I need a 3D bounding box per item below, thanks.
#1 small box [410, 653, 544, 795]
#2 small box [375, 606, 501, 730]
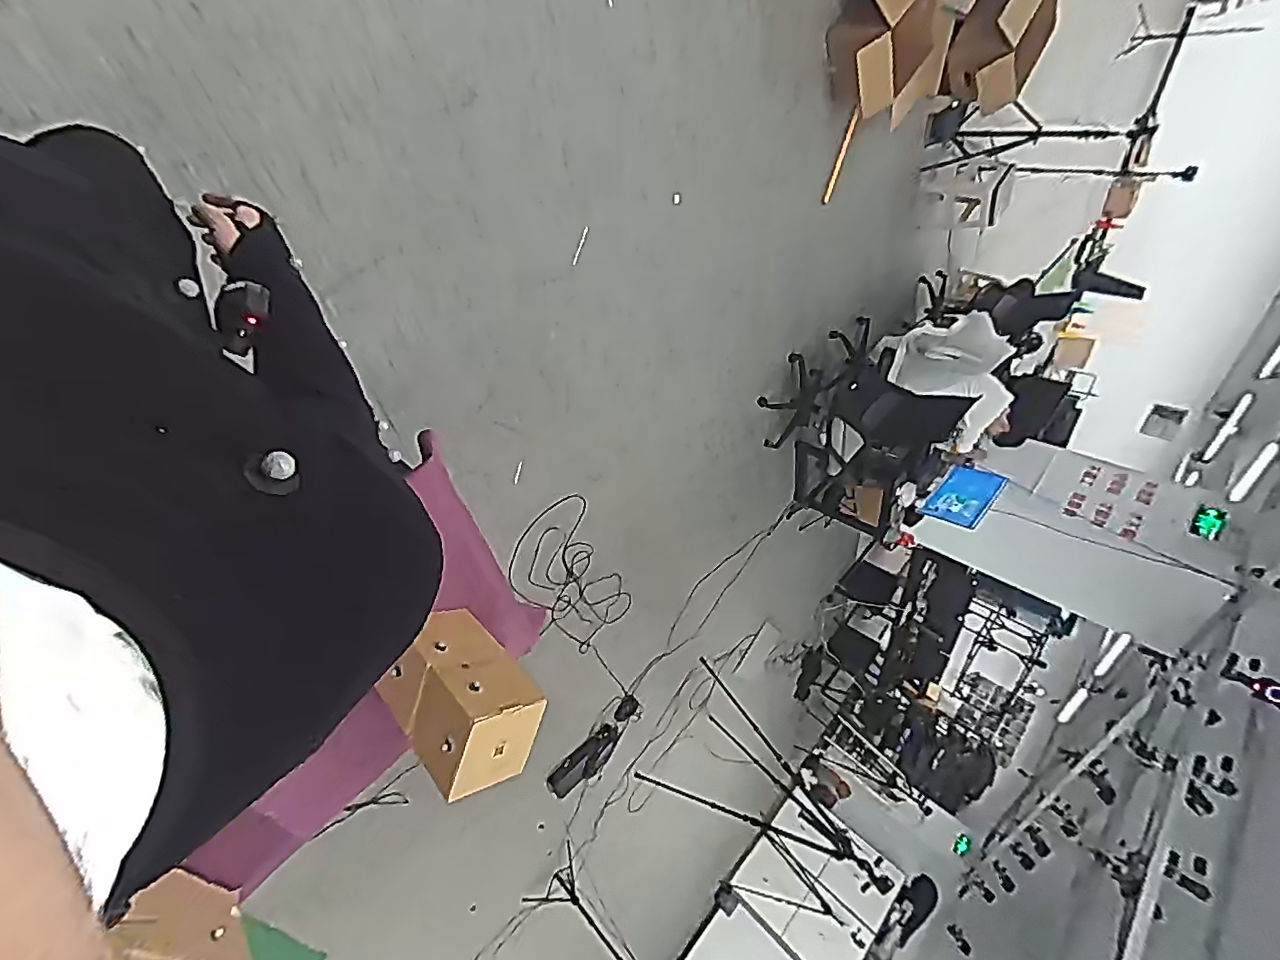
[{"bbox_3d":[-0.320,0.454,1.048,0.168,0.176,0.179,7,107,-50],"label":"small box"},{"bbox_3d":[-0.432,0.386,1.145,0.179,0.176,0.168,6,109,-51],"label":"small box"}]
